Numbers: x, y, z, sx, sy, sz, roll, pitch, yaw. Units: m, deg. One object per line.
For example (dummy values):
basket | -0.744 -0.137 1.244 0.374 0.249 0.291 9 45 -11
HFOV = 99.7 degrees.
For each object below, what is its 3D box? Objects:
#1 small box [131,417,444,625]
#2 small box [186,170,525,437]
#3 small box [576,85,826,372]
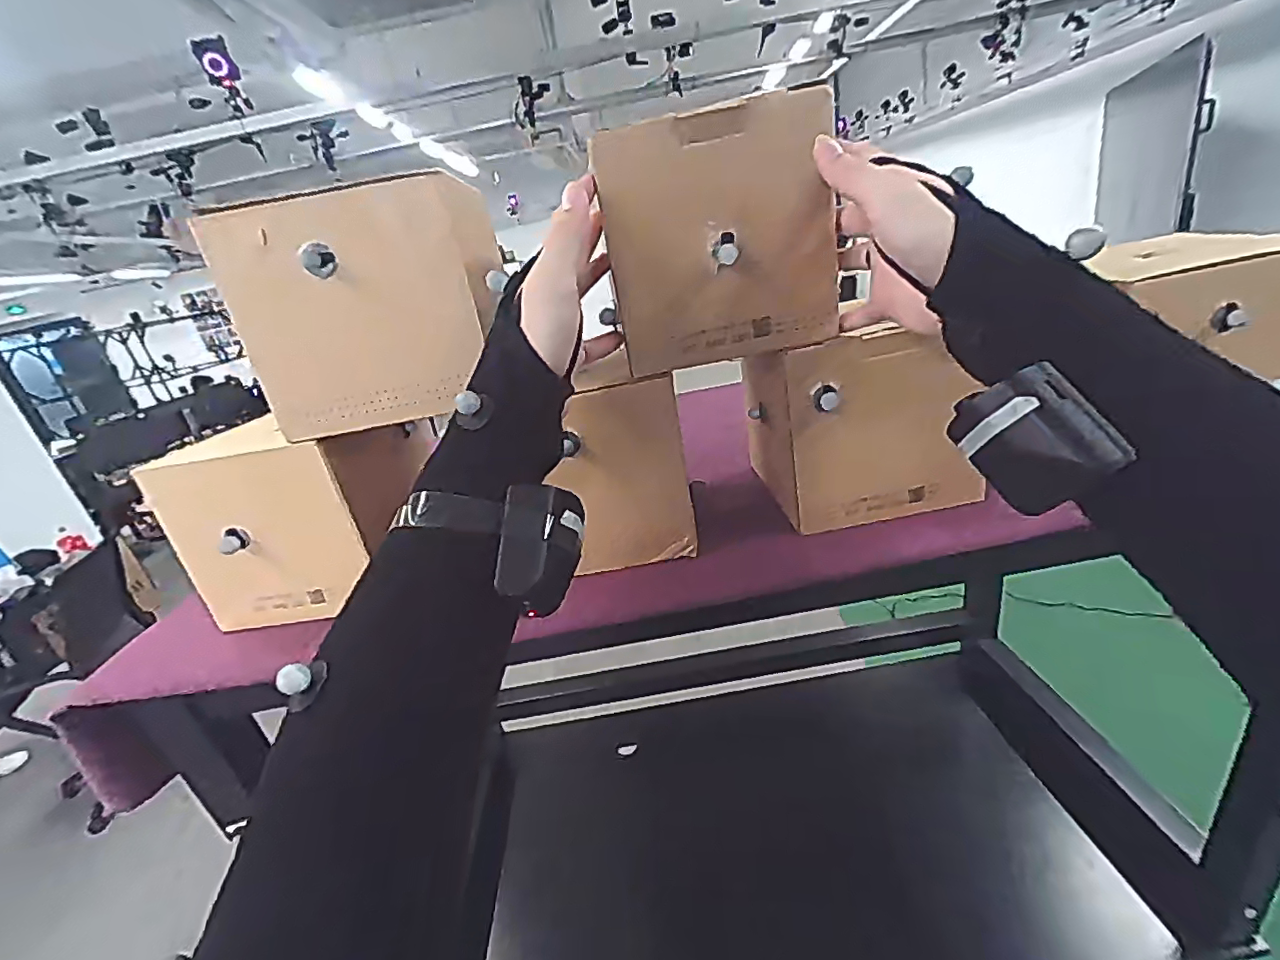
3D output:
small box | -0.319 0.028 0.538 0.168 0.176 0.179 -10 21 5
small box | -0.214 -0.145 0.467 0.179 0.176 0.168 -11 22 0
small box | 0.047 -0.198 0.457 0.168 0.176 0.179 -12 25 0
